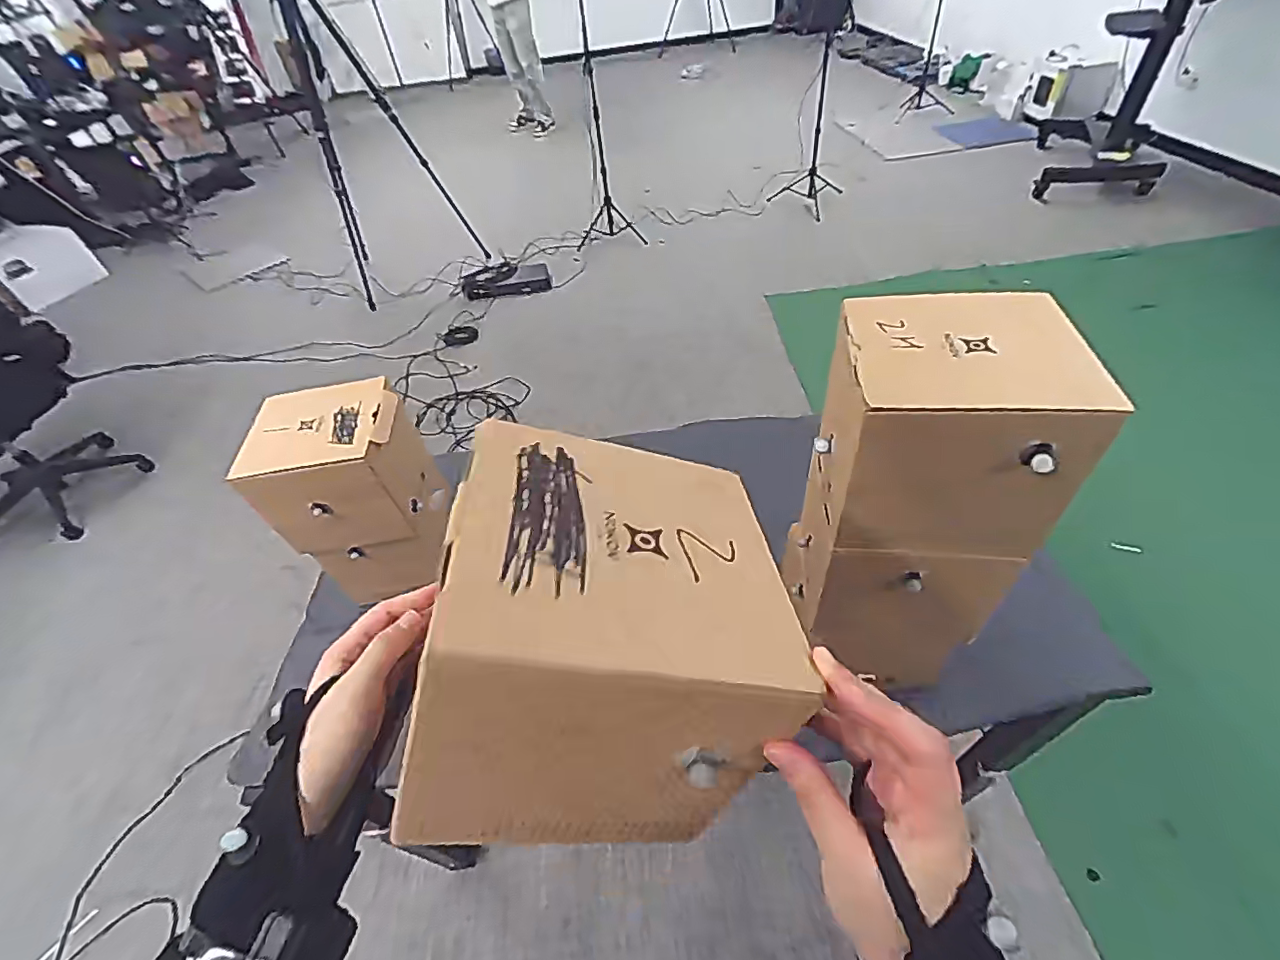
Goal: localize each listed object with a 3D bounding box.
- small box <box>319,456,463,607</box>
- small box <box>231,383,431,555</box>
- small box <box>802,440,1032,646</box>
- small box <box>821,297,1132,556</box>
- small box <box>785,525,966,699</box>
[{"bbox_3d":[-0.408,0.087,0.910,0.168,0.176,0.179,-9,47,-2],"label":"small box"},{"bbox_3d":[-0.421,-0.012,0.778,0.179,0.176,0.168,-10,48,-1],"label":"small box"},{"bbox_3d":[0.284,0.071,0.604,0.179,0.176,0.168,0,46,10],"label":"small box"},{"bbox_3d":[0.269,-0.046,0.488,0.179,0.176,0.168,1,46,11],"label":"small box"},{"bbox_3d":[0.300,0.172,0.730,0.168,0.176,0.179,-7,46,2],"label":"small box"}]
